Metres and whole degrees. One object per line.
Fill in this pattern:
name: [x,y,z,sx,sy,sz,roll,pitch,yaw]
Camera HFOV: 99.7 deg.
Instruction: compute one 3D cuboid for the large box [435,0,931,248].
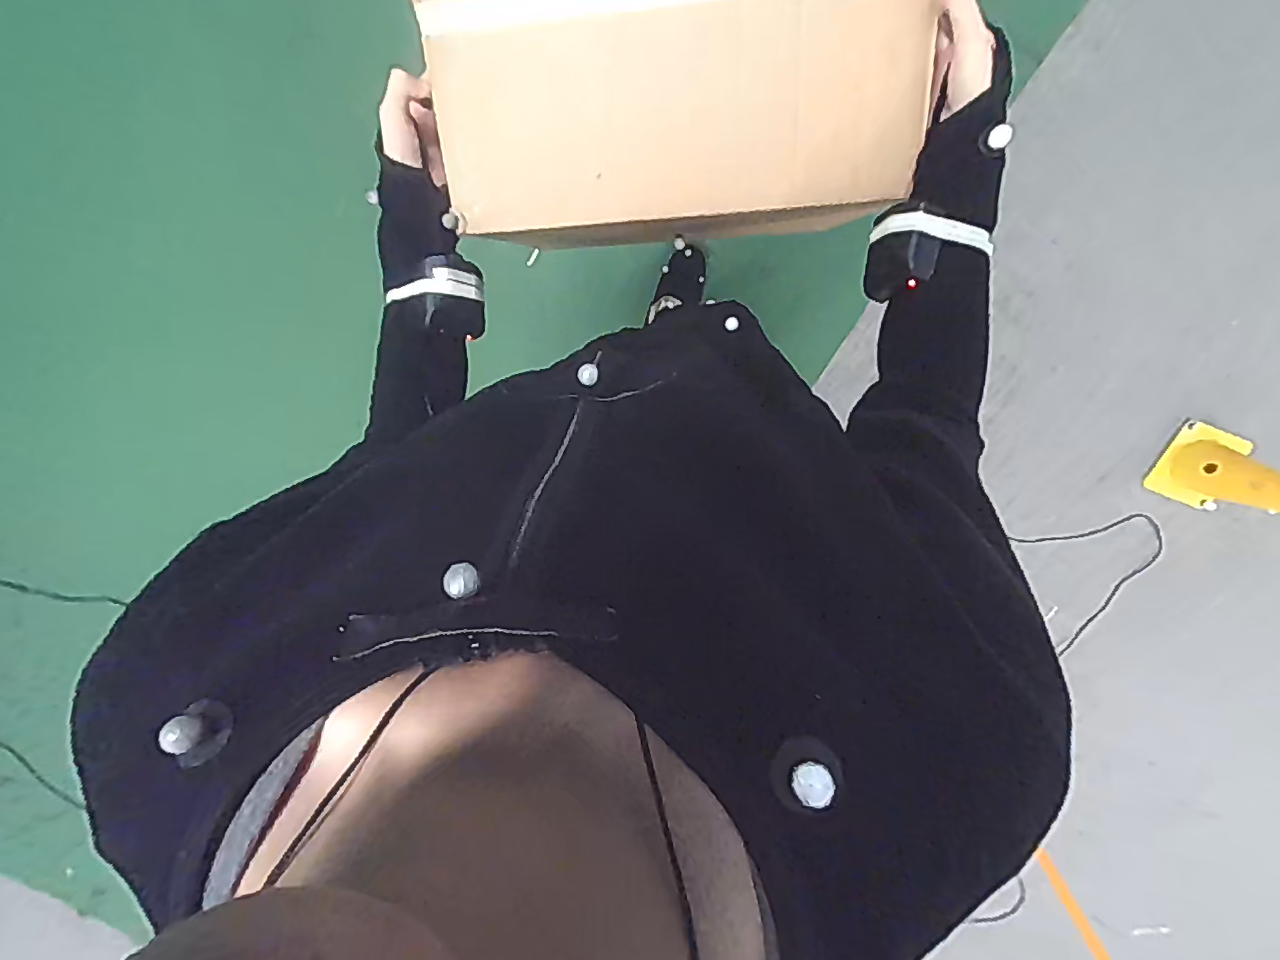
large box: [0.042,-0.431,0.572,0.408,0.320,0.320,-2,109,5]
